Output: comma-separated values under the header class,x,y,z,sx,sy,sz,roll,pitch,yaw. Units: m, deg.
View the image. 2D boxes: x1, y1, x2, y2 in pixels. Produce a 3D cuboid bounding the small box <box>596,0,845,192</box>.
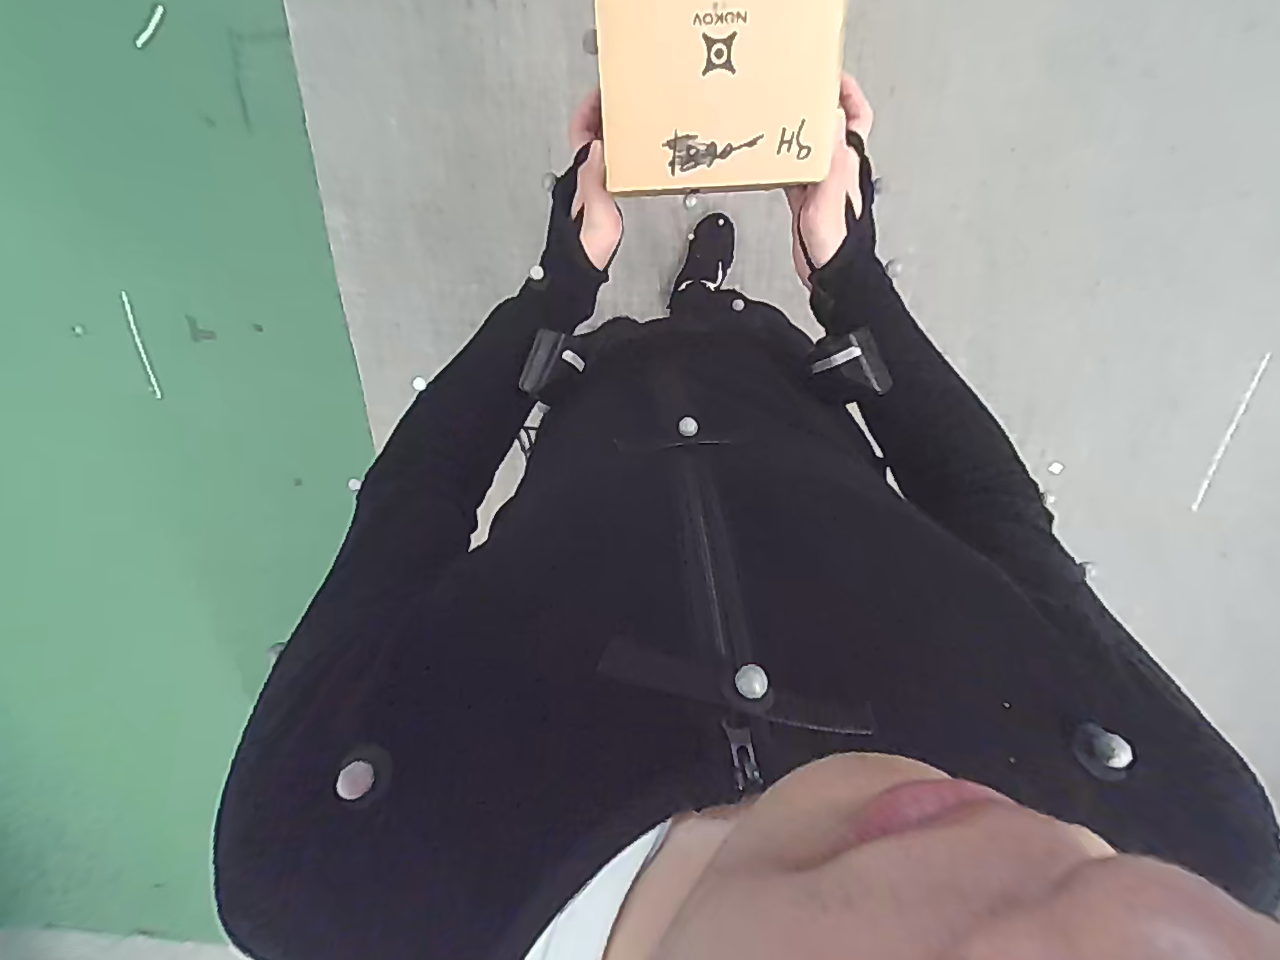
class,x,y,z,sx,sy,sz,roll,pitch,yaw
small box,0.050,-0.332,0.426,0.168,0.176,0.179,-2,116,0
